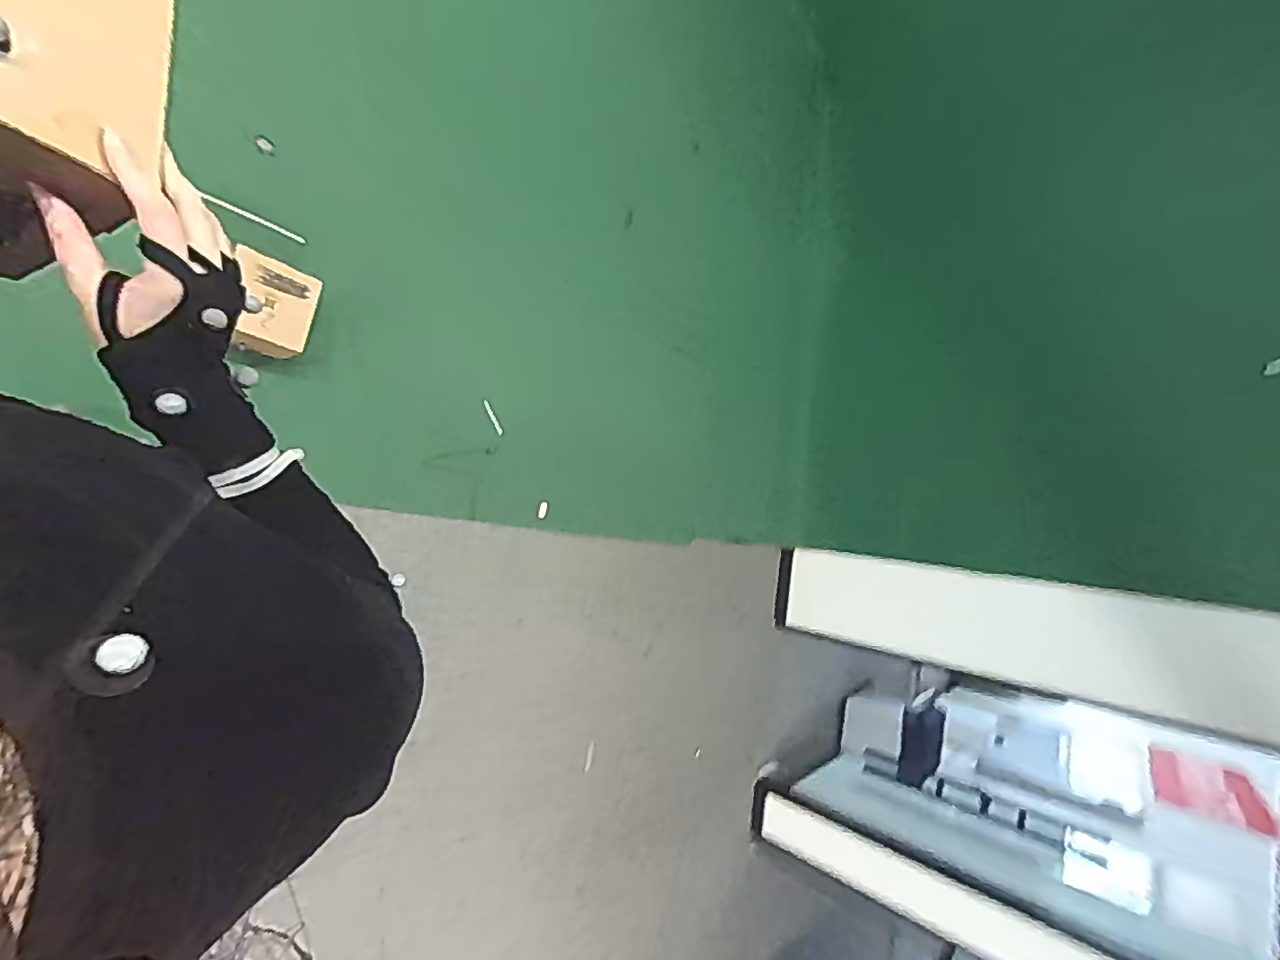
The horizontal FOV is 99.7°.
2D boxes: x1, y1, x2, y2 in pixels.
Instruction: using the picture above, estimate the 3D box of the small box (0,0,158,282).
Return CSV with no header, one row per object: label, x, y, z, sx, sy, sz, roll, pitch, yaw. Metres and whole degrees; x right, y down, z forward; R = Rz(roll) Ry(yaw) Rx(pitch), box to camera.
small box,-0.397,-0.239,0.281,0.179,0.168,0.176,19,63,-66
